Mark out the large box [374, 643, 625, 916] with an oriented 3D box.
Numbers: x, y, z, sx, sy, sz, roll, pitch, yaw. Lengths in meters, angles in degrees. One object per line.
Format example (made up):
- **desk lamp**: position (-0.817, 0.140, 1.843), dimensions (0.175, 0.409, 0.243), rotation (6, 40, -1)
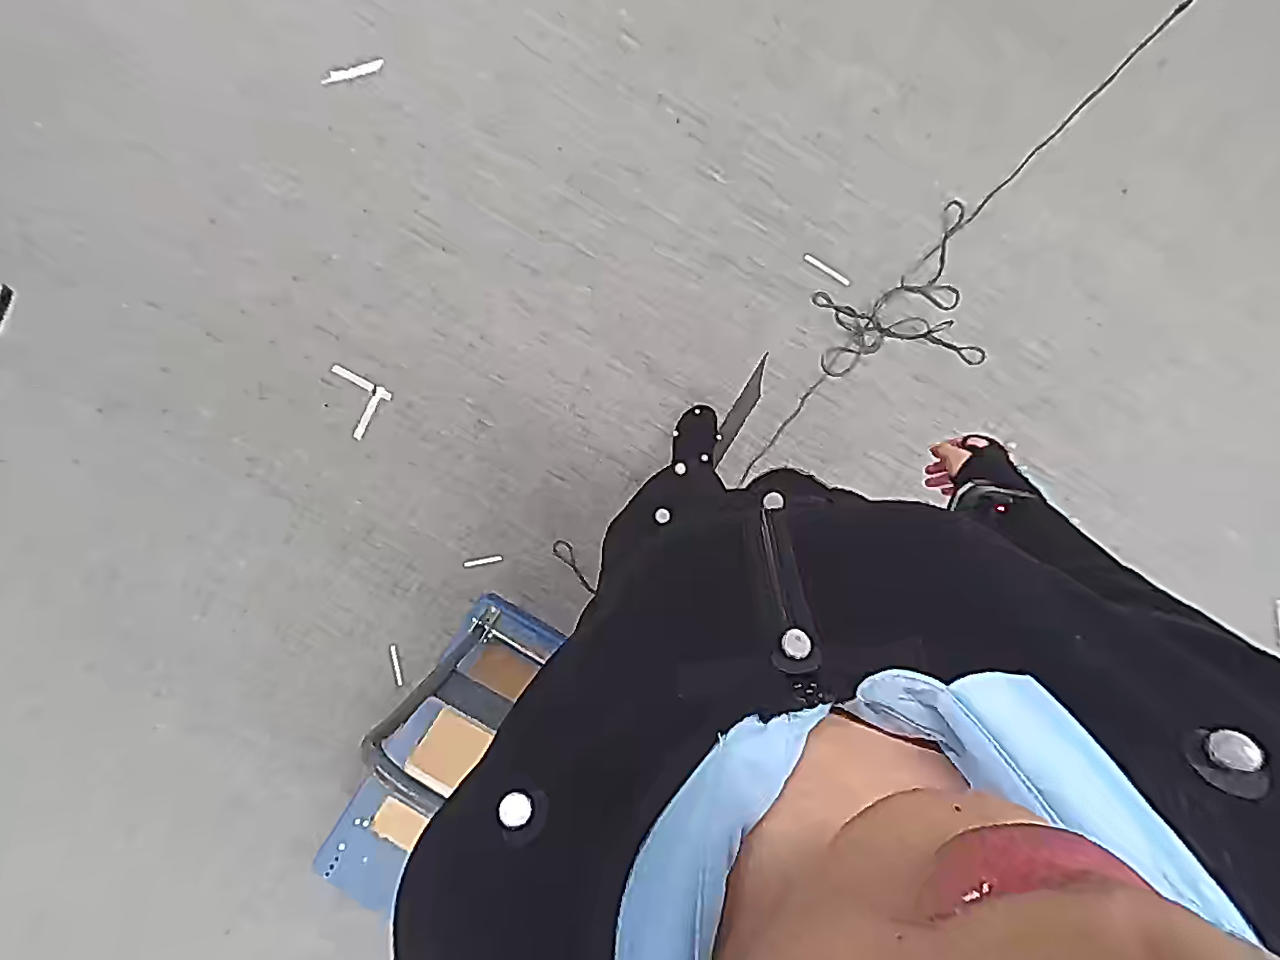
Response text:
- **large box**: position (-0.285, 0.646, 1.228), dimensions (0.408, 0.320, 0.320), rotation (33, 93, -1)
